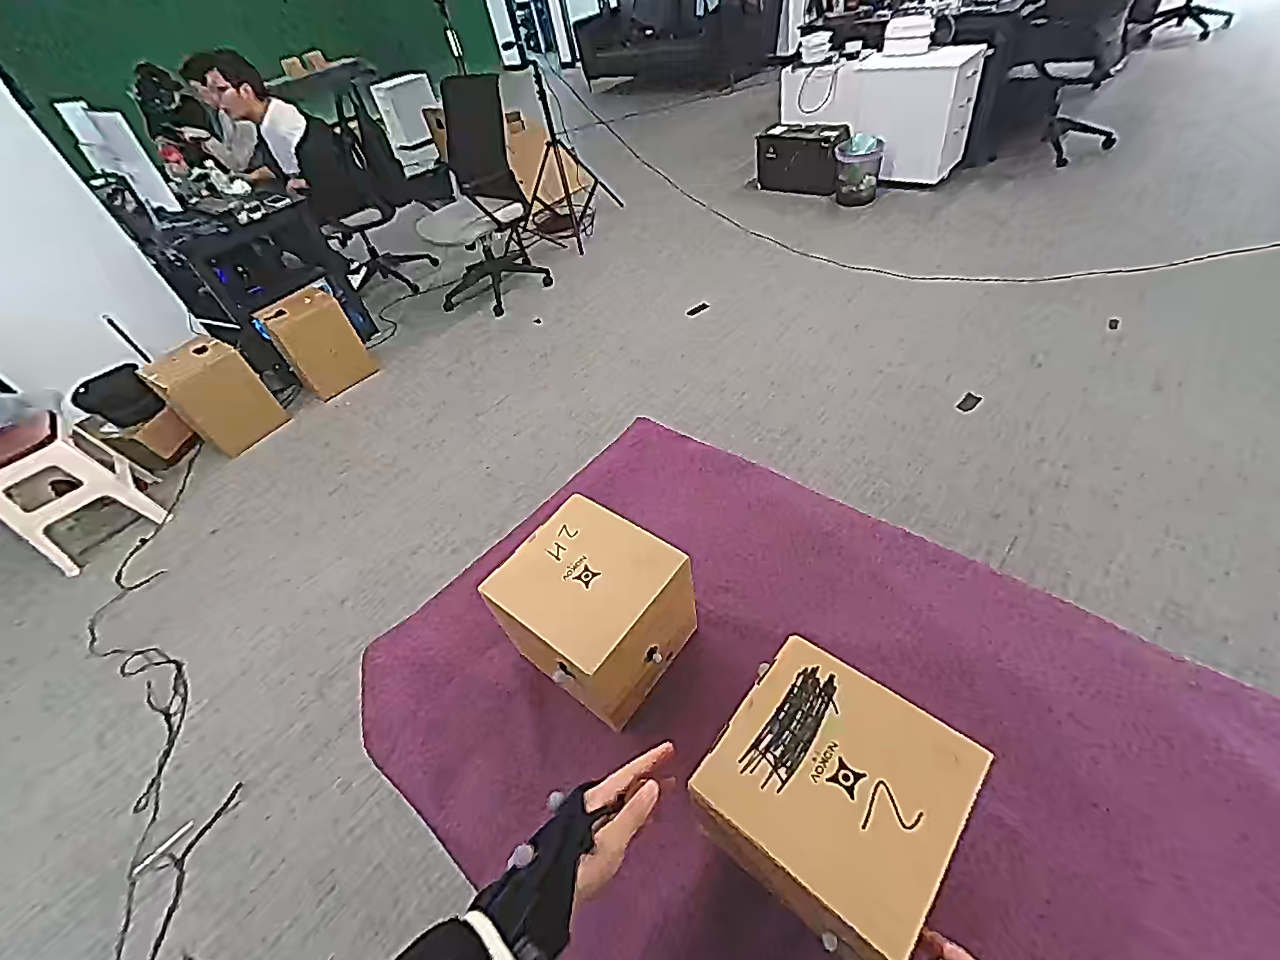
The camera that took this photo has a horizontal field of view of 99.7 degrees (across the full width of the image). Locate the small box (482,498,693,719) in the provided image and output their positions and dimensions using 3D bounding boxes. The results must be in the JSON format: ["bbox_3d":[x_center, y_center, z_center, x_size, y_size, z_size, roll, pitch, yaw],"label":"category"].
[{"bbox_3d":[-0.050,0.159,0.654,0.179,0.176,0.168,27,57,30],"label":"small box"}]
